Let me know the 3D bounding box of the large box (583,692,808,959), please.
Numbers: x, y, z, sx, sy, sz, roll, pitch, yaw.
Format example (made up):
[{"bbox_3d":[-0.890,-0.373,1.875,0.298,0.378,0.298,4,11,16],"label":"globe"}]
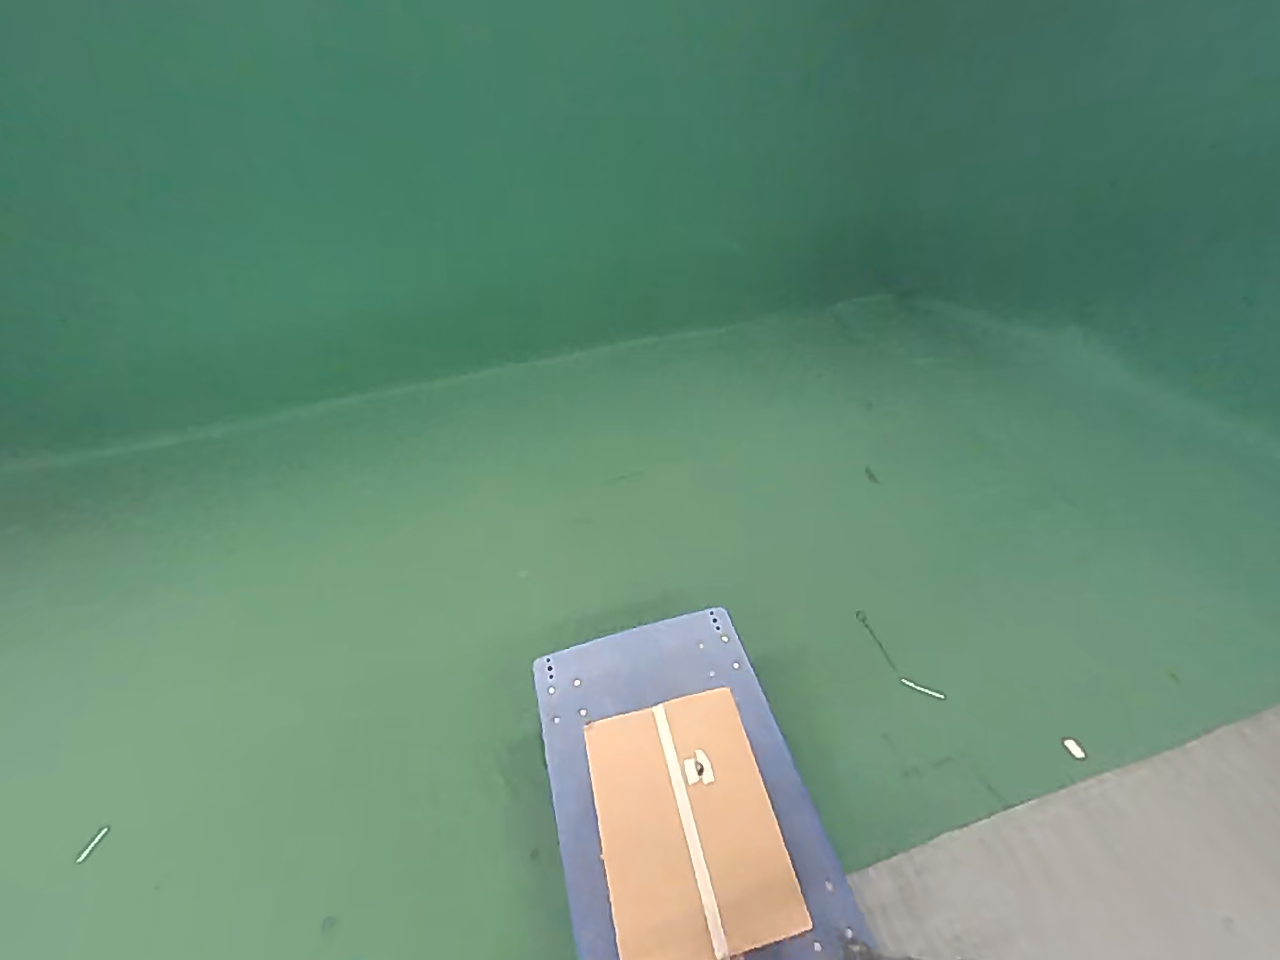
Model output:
[{"bbox_3d":[0.088,0.713,1.085,0.320,0.320,0.408,-11,48,-7],"label":"large box"}]
